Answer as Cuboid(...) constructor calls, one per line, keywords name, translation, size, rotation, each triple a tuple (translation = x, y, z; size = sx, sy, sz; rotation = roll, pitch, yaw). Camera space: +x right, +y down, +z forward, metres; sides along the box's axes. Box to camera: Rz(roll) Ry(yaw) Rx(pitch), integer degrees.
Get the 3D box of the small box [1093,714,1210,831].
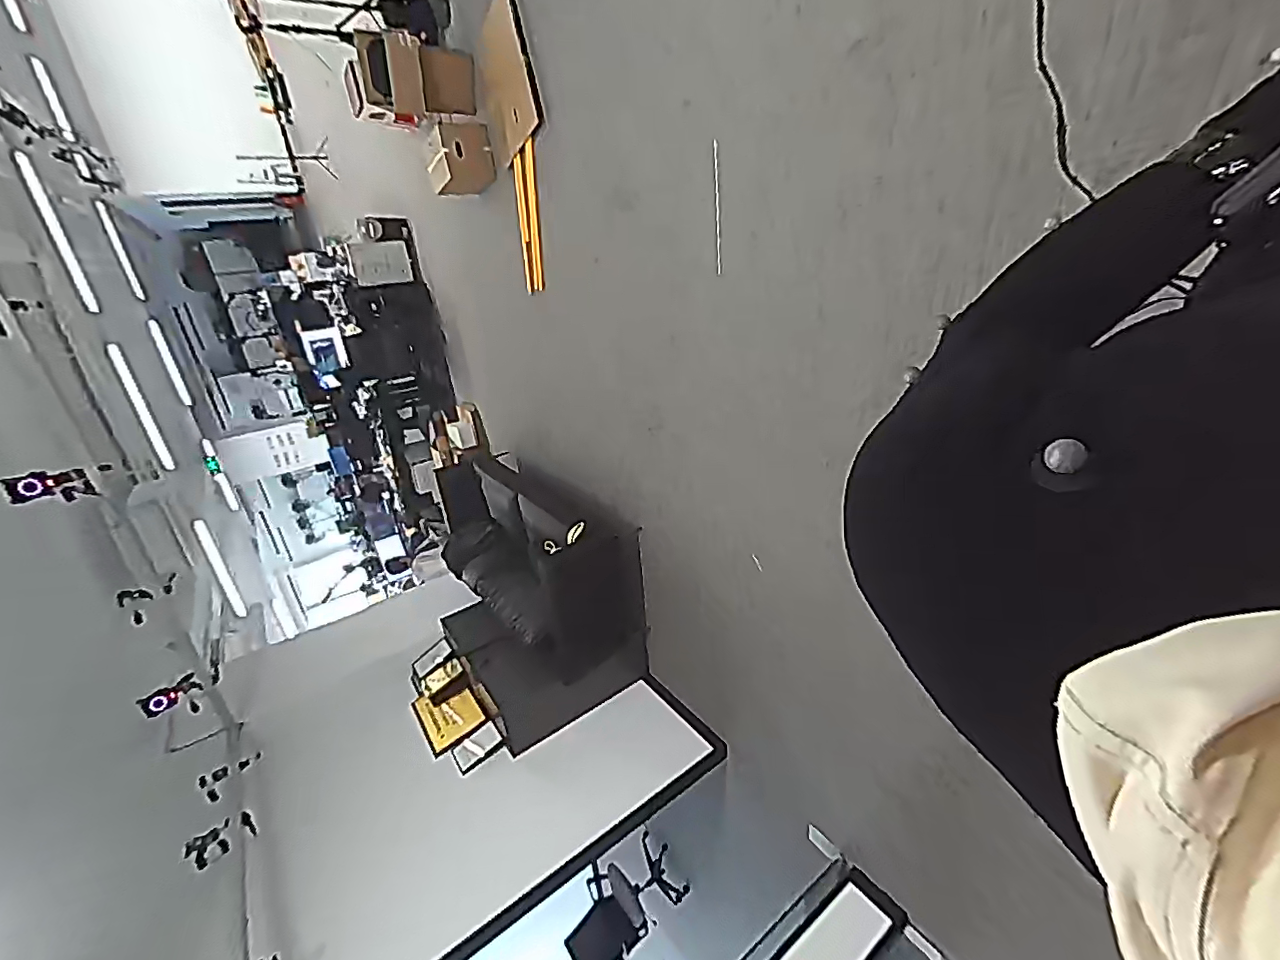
Cuboid(name="small box", translation=(1.355, 0.764, 1.431), size=(0.168, 0.176, 0.179), rotation=(30, 133, 48))
